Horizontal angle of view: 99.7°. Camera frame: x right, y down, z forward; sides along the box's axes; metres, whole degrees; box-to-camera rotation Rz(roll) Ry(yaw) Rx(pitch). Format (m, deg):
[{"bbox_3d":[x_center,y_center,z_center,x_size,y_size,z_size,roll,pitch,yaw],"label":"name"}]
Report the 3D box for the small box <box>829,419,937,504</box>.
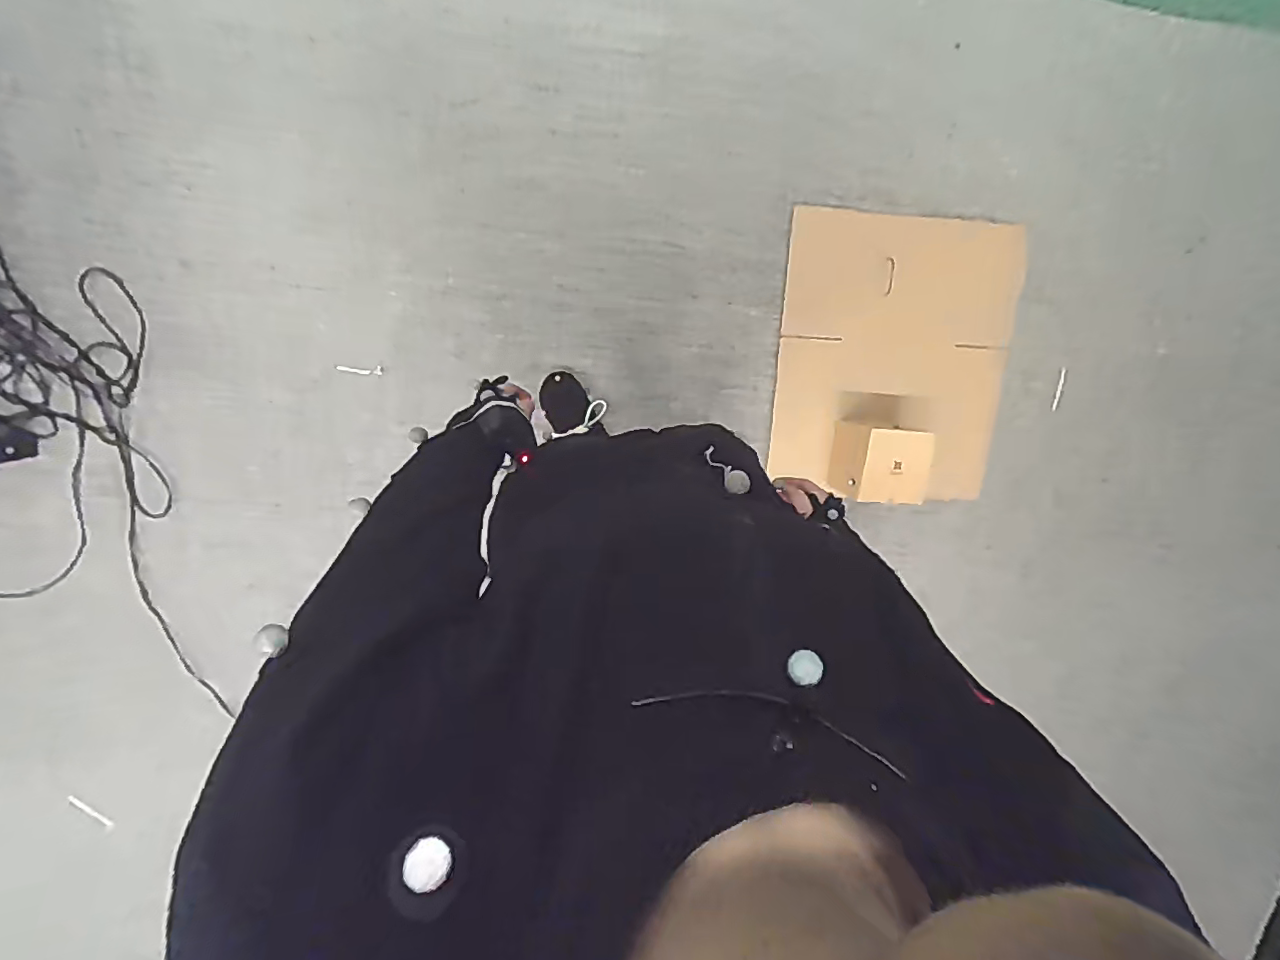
[{"bbox_3d":[0.580,-0.050,1.315,0.168,0.176,0.179,3,104,-7],"label":"small box"}]
